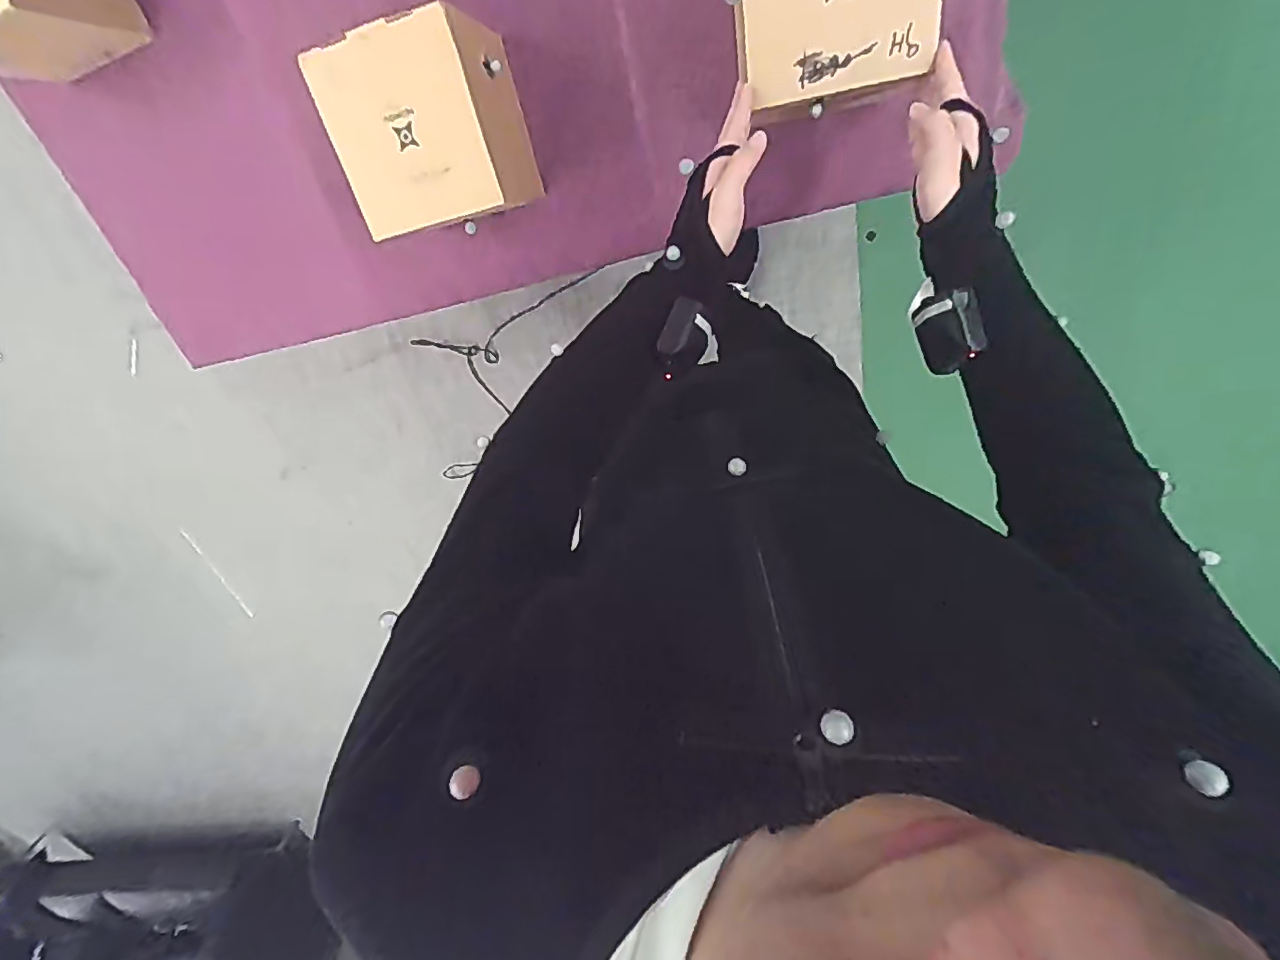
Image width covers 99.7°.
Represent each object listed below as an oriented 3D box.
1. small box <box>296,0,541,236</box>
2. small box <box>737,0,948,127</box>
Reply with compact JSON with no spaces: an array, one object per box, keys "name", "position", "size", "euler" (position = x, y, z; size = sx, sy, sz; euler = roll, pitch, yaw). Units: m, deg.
[{"name":"small box","position":[-0.229,-0.391,0.613],"size":[0.168,0.176,0.179],"euler":[-8,118,12]},{"name":"small box","position":[0.183,-0.465,0.522],"size":[0.168,0.176,0.179],"euler":[-5,118,11]}]
